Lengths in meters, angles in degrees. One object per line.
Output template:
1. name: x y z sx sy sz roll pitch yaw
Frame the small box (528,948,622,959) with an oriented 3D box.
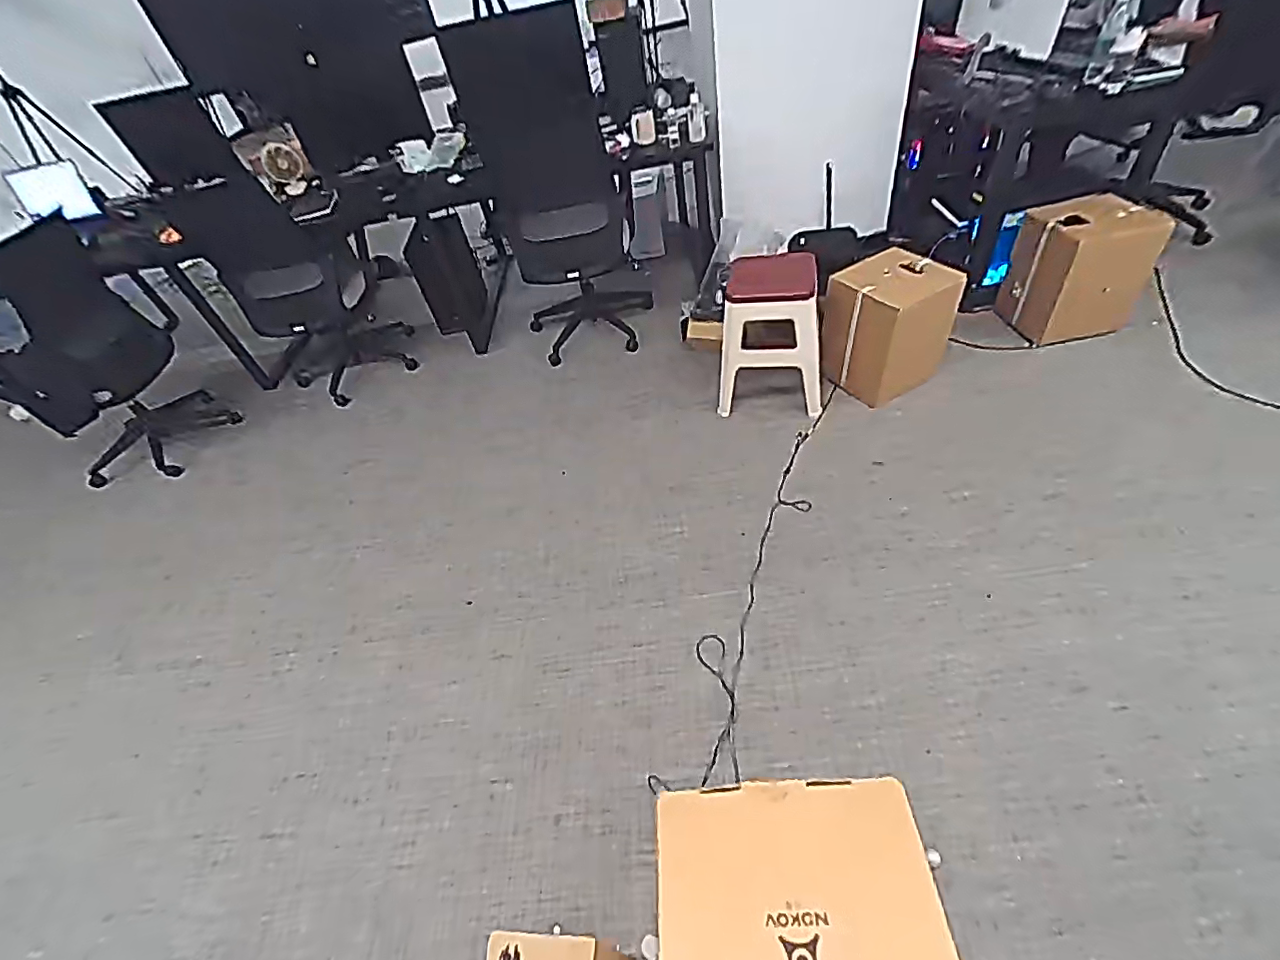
1. small box: -0.108 0.939 0.938 0.168 0.176 0.179 -4 47 11

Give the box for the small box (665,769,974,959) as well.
1. small box: 0.112 0.316 0.349 0.168 0.176 0.179 -8 39 8
